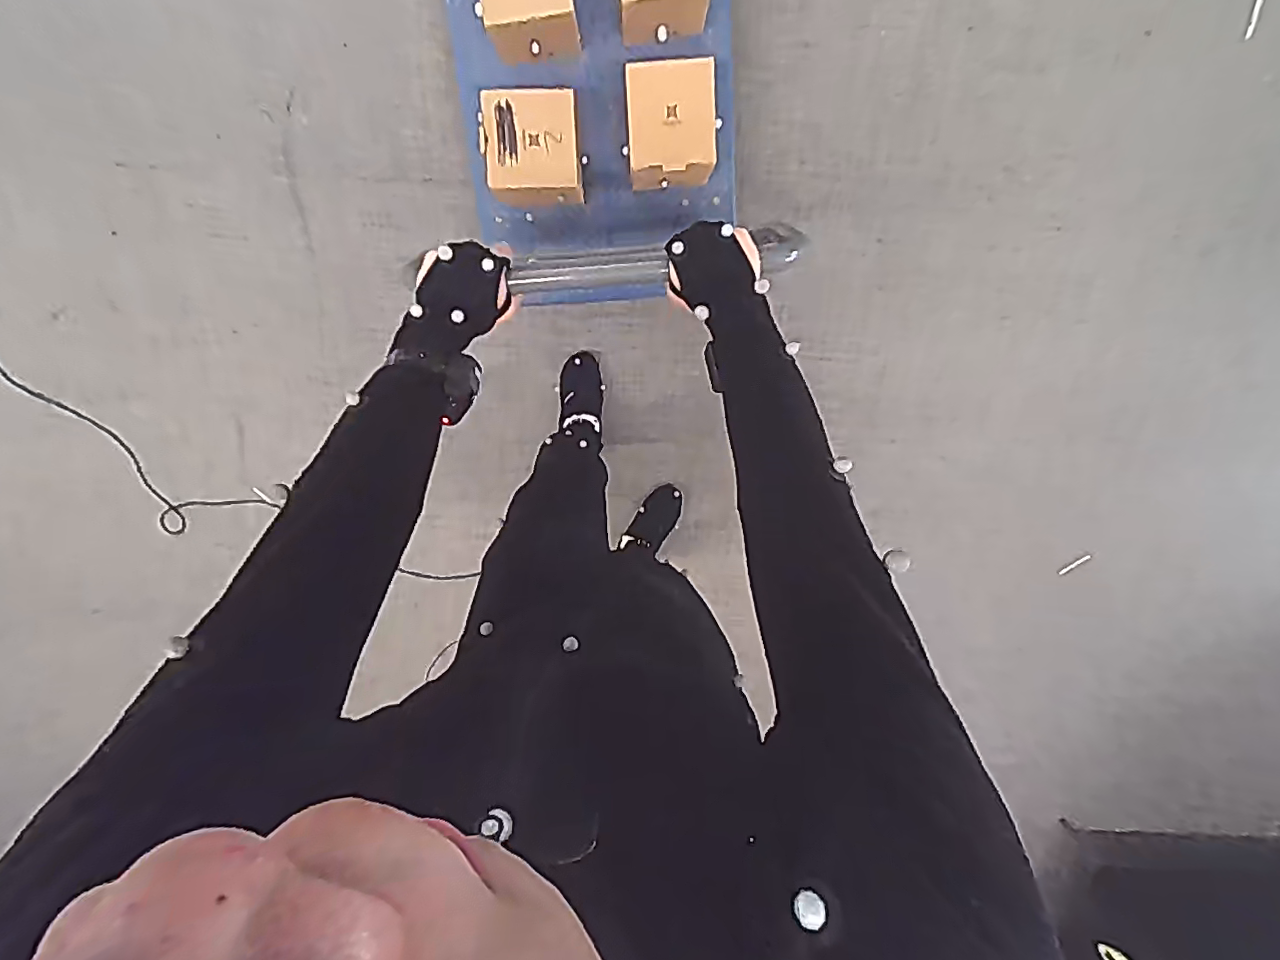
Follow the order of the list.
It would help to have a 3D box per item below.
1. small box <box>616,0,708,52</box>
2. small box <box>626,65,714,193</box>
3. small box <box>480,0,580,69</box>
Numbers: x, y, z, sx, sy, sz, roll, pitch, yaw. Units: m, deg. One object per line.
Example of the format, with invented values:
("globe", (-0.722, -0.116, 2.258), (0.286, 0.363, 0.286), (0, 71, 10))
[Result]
("small box", (0.033, -0.971, 1.037), (0.168, 0.176, 0.179), (-8, 107, 3))
("small box", (0.057, -0.712, 1.113), (0.168, 0.176, 0.179), (-4, 106, 0))
("small box", (-0.215, -0.932, 1.045), (0.168, 0.176, 0.179), (-8, 106, 1))
